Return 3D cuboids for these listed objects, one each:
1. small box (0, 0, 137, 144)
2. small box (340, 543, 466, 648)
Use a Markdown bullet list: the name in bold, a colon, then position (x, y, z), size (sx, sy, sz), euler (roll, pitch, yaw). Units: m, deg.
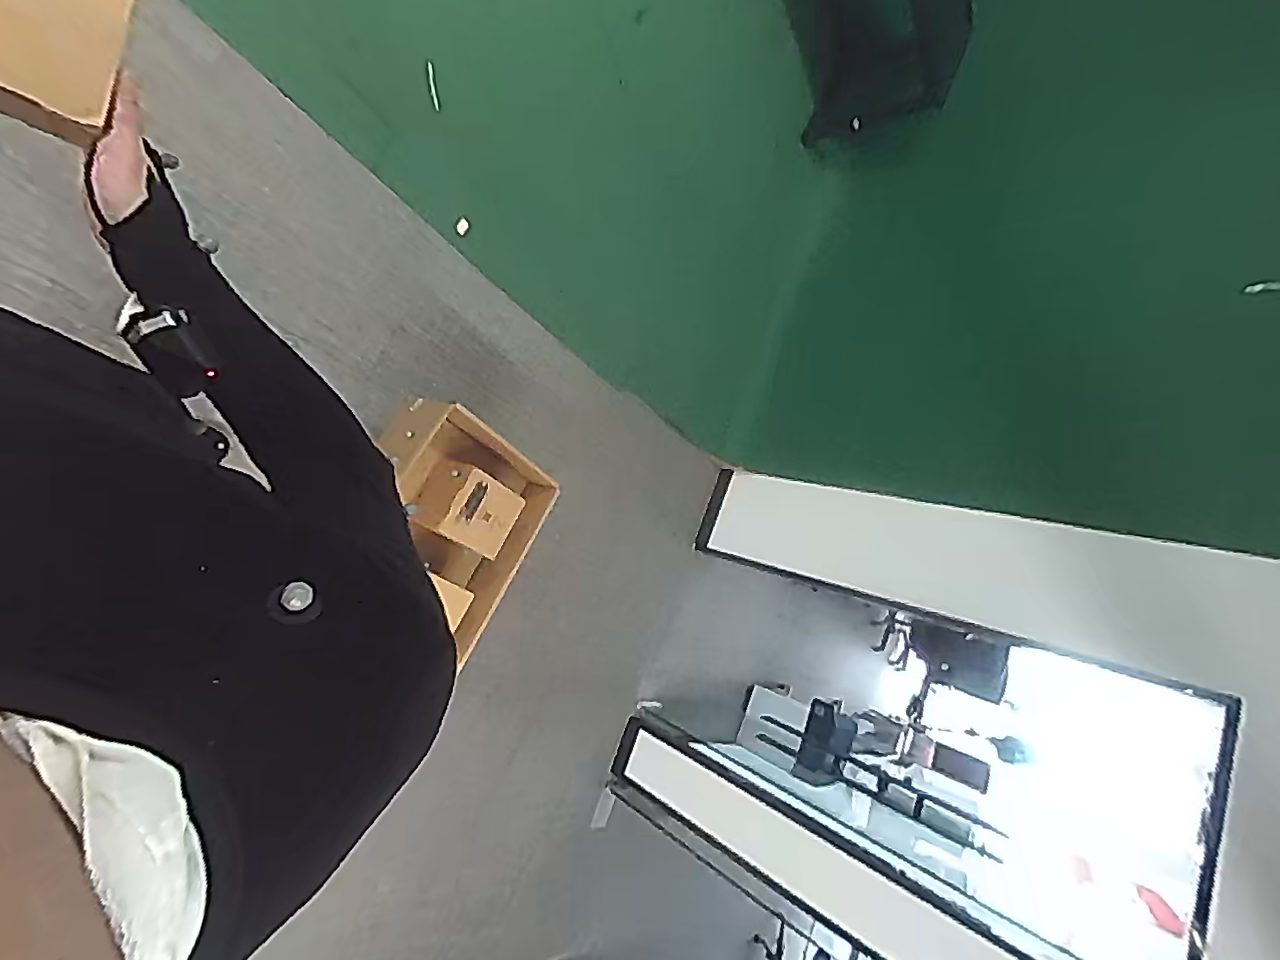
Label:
- **small box**: position (-0.480, -0.371, 0.380), size (0.168, 0.176, 0.179), euler (12, 101, -51)
- **small box**: position (-0.554, 0.265, 1.265), size (0.179, 0.176, 0.168), euler (44, 67, -45)
